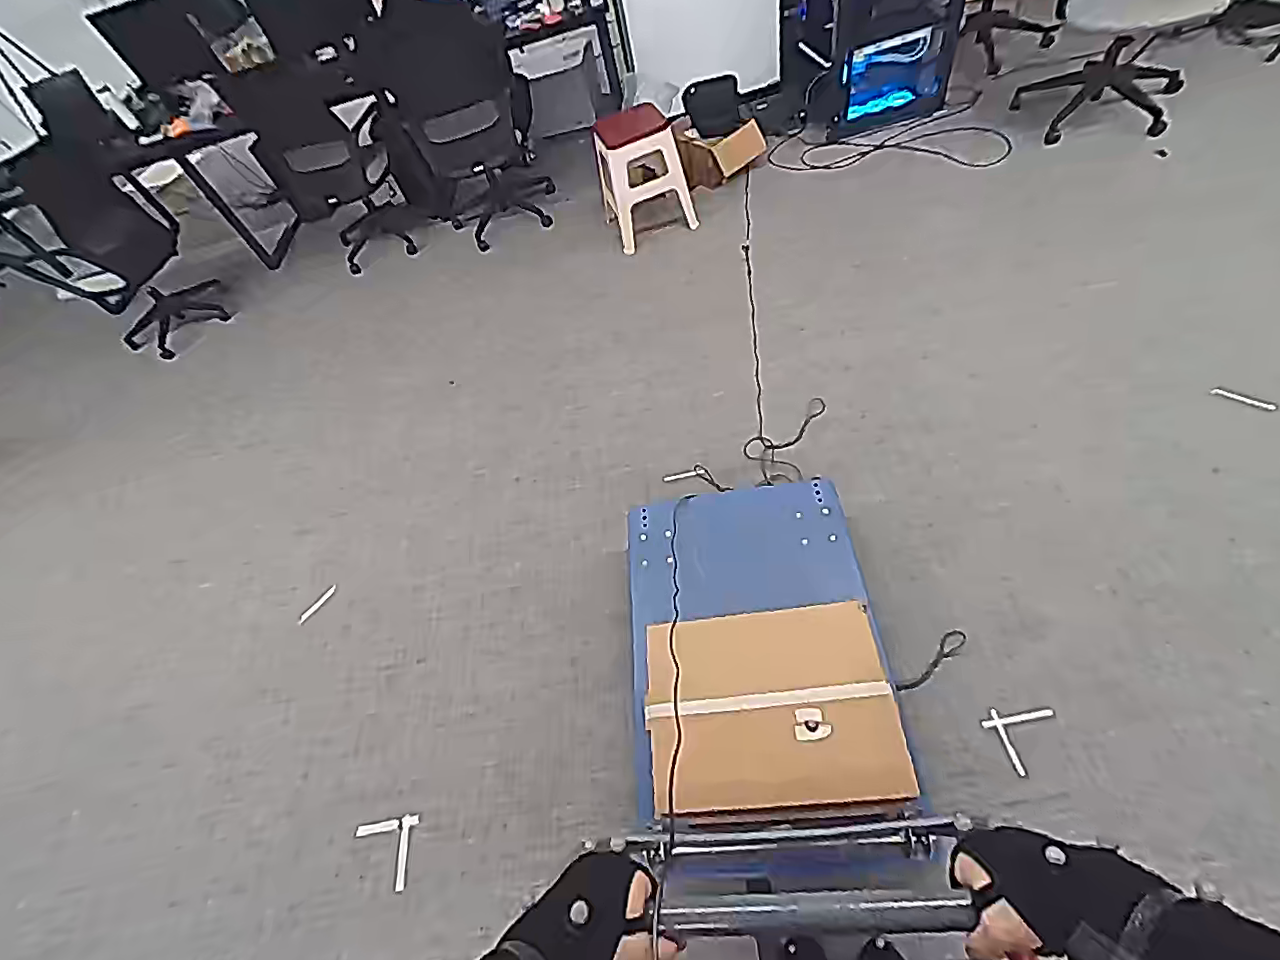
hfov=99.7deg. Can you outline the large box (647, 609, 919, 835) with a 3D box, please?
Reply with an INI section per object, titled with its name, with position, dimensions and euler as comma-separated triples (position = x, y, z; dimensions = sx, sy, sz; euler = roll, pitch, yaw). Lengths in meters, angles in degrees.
[large box]
position = 0.242, 0.473, 1.029
dimensions = 0.408, 0.320, 0.320
euler = -9, 54, 8
